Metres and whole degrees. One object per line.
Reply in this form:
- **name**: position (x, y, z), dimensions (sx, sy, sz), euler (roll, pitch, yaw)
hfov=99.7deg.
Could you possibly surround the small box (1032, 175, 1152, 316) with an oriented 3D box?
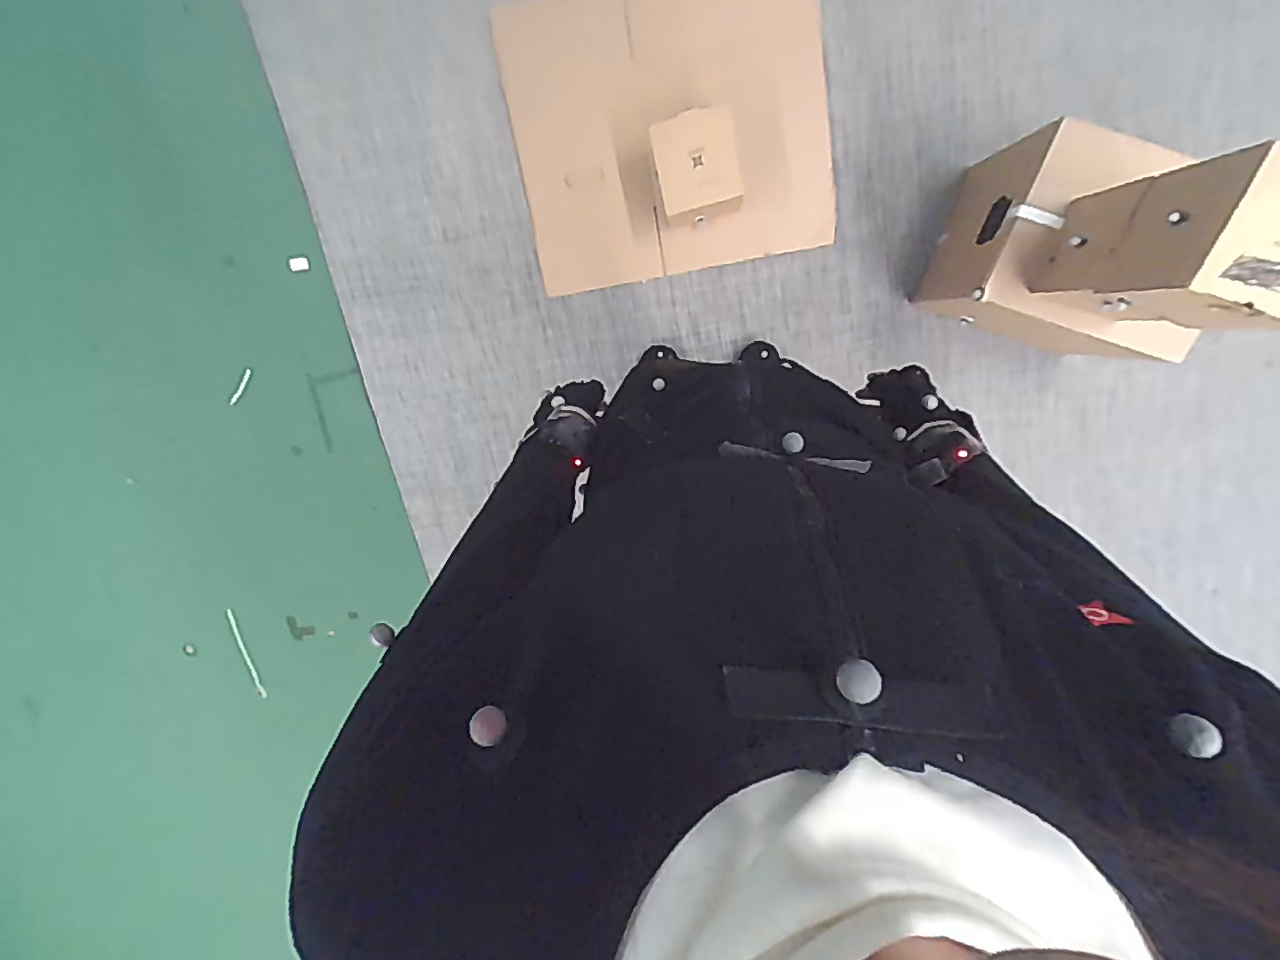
- **small box**: position (0.801, -0.371, 0.889), dimensions (0.179, 0.176, 0.168), euler (13, 105, -1)

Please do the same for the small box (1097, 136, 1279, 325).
- **small box**: position (0.782, -0.318, 0.731), dimensions (0.168, 0.176, 0.179), euler (19, 106, -2)

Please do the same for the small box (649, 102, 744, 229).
- **small box**: position (0.122, -0.661, 1.159), dimensions (0.168, 0.176, 0.179), euler (-12, 105, 11)
